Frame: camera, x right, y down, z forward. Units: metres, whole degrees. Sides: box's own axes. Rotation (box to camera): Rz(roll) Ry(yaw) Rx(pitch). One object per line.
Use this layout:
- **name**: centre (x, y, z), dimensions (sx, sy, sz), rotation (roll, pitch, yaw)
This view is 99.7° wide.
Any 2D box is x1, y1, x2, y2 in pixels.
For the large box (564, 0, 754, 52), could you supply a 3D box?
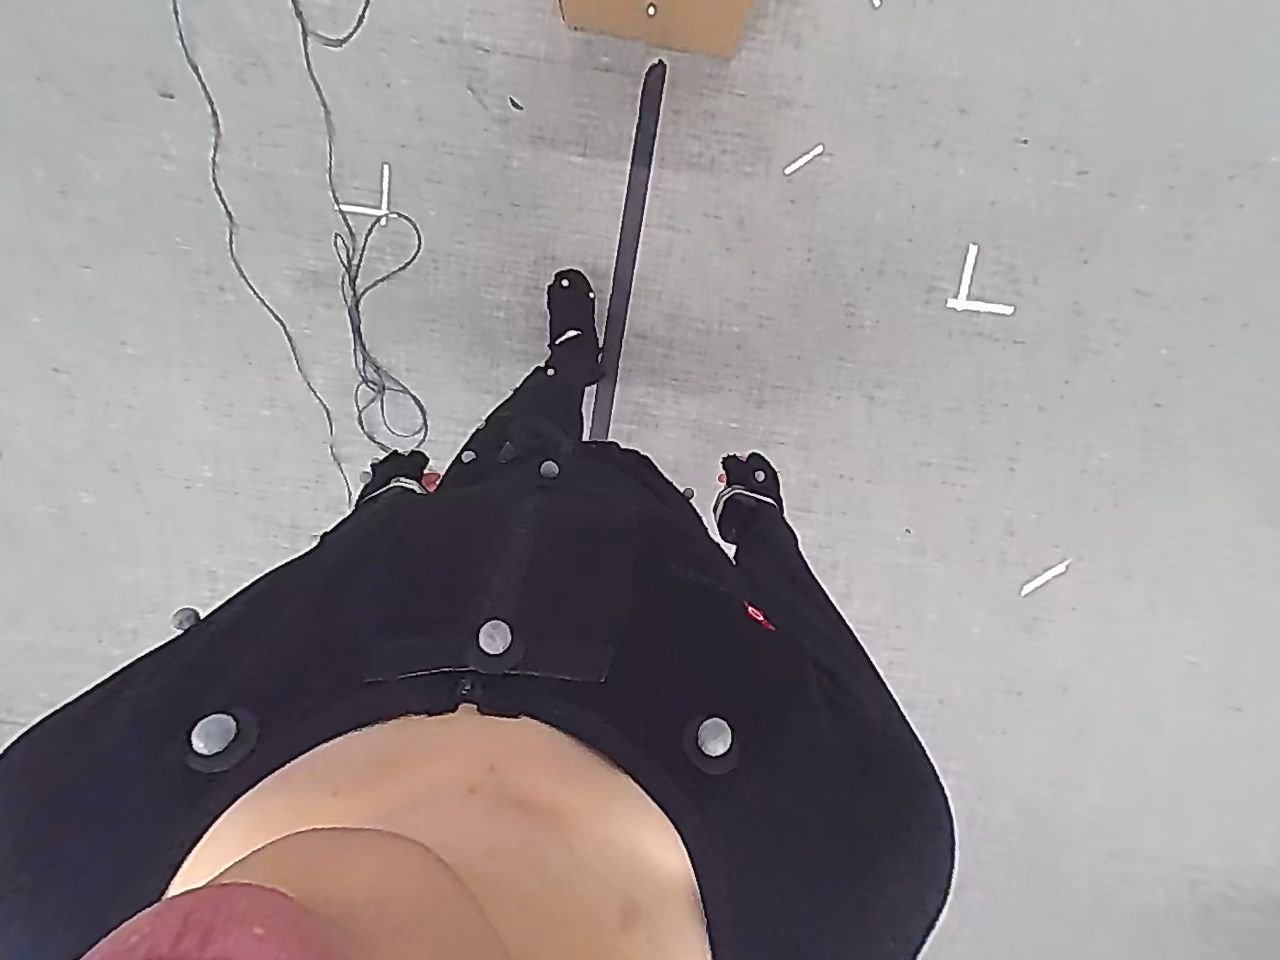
- **large box**: centre (0.053, -1.142, 1.088), dimensions (0.408, 0.320, 0.320), rotation (9, 101, -2)
